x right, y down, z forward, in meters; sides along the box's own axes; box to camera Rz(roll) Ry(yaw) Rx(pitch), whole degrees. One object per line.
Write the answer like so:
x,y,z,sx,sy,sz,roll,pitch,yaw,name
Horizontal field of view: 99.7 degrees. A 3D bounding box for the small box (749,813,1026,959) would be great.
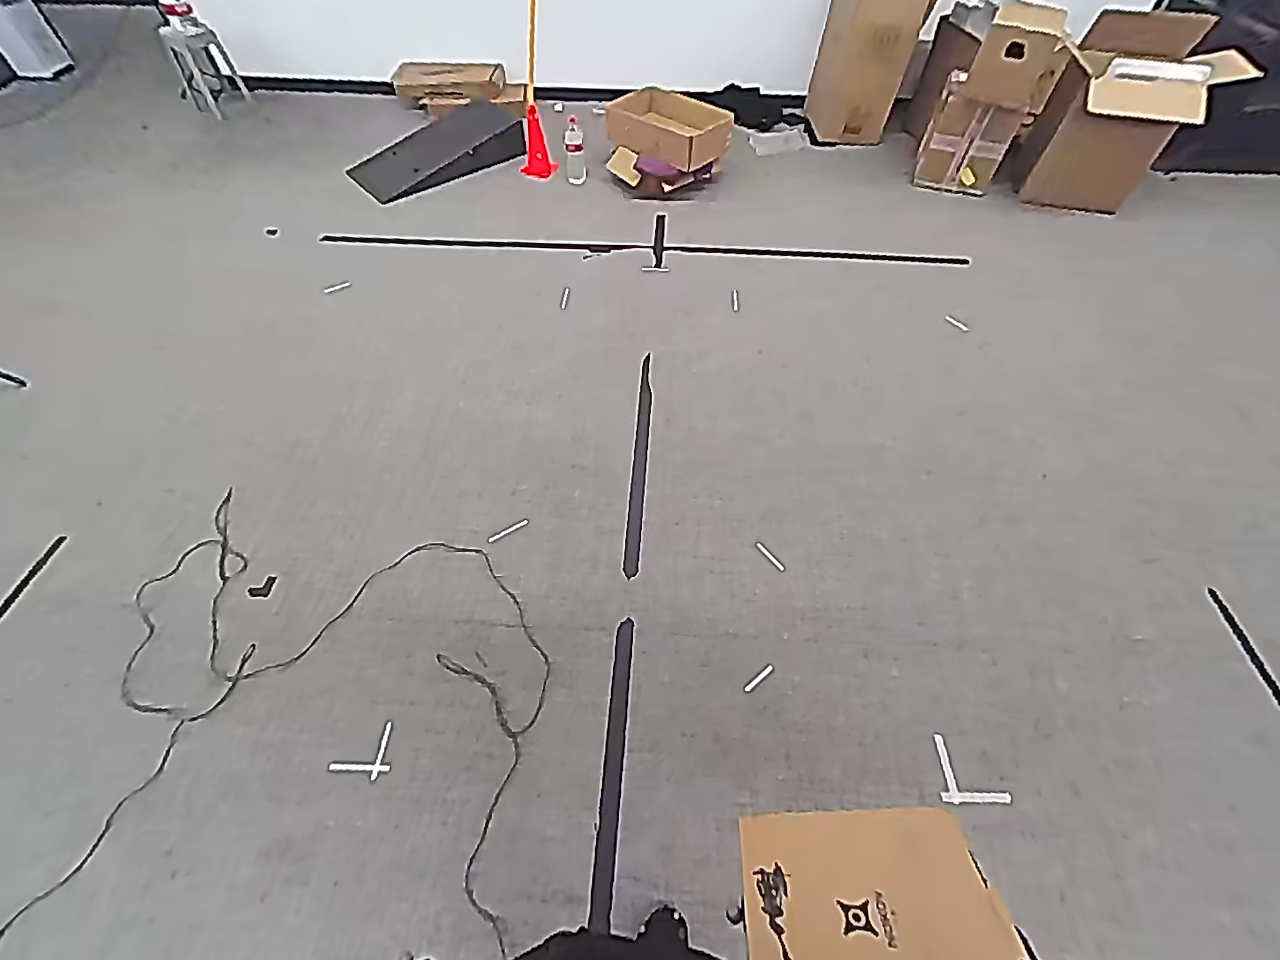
0.183,0.391,0.413,0.179,0.176,0.168,-7,18,9,small box
